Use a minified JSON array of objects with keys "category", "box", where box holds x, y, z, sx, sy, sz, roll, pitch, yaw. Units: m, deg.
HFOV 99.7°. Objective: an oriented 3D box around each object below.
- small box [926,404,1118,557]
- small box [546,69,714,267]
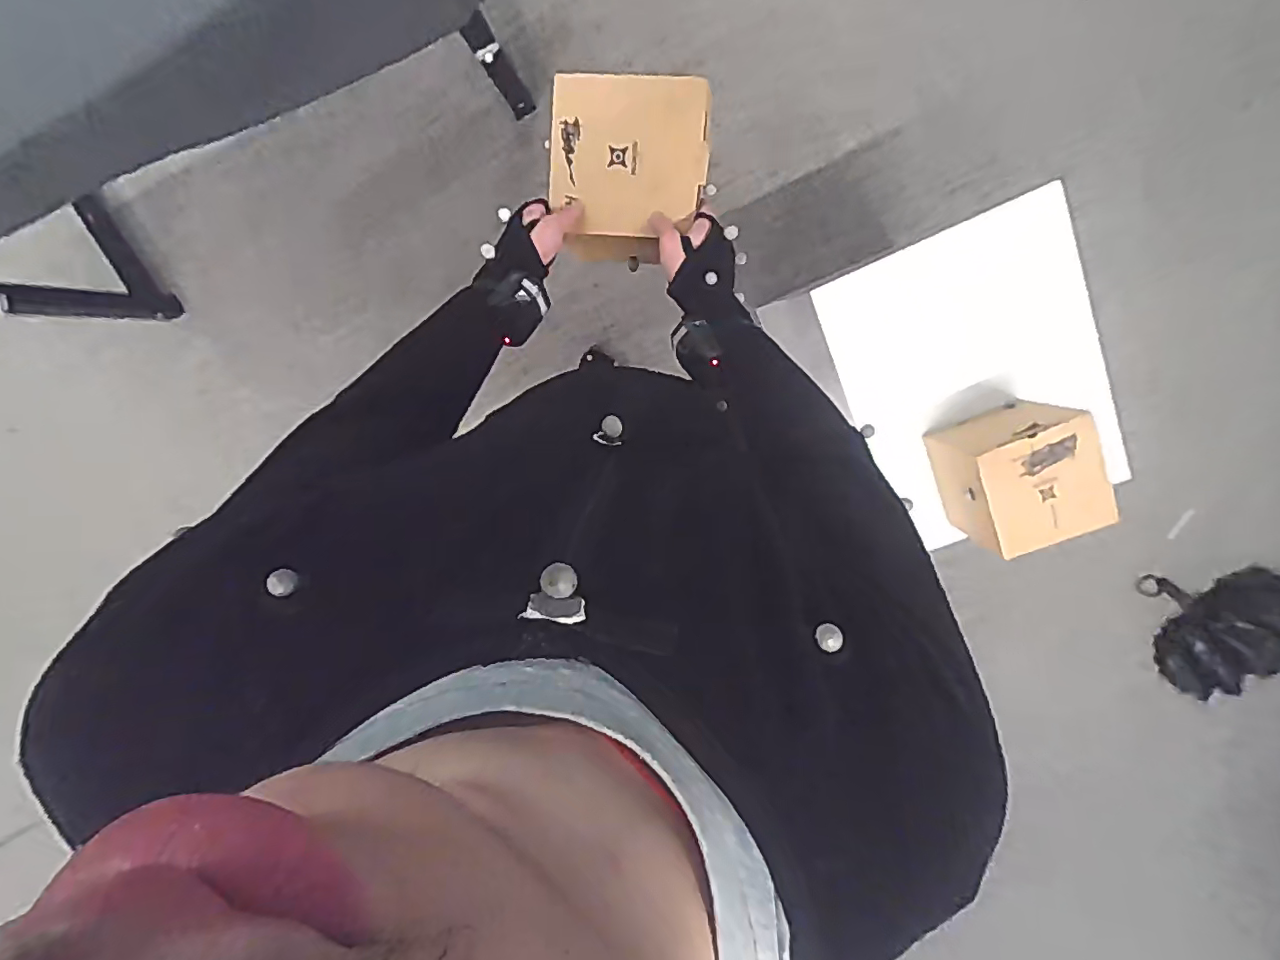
[{"category":"small box","box":[0.585,-0.011,0.851,0.168,0.176,0.179,-23,103,6]},{"category":"small box","box":[-0.010,-0.366,0.667,0.179,0.176,0.168,4,101,2]}]
